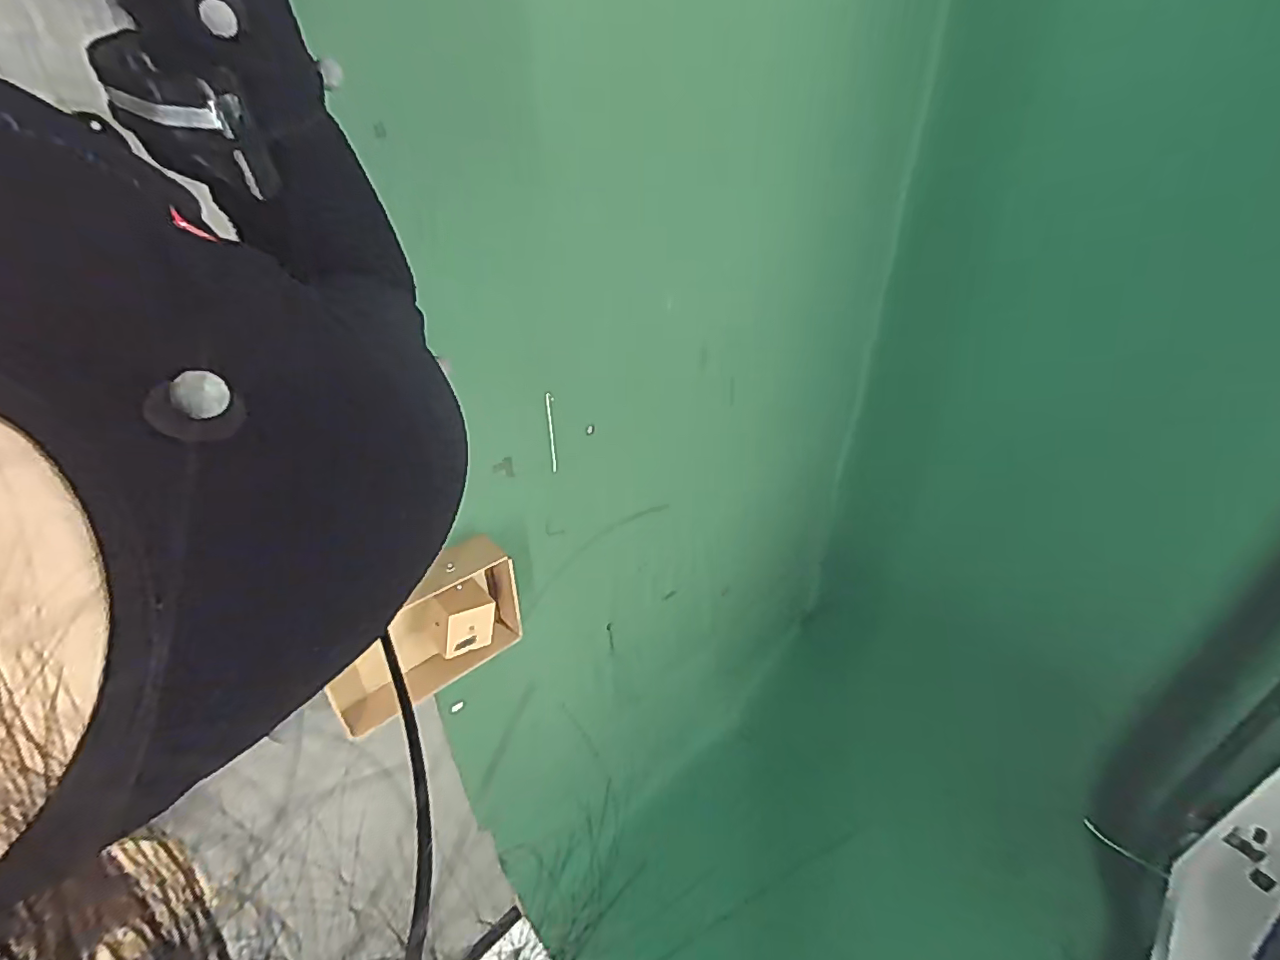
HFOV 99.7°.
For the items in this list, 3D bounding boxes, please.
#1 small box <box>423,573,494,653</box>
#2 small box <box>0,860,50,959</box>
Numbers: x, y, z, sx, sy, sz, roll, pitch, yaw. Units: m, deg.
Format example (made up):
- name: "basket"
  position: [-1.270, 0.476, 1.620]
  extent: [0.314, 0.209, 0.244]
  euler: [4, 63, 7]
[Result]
- name: "small box"
  position: [-0.614, 0.440, 1.816]
  extent: [0.168, 0.176, 0.179]
  euler: [-10, 121, -44]
- name: "small box"
  position: [-1.340, 0.920, 1.092]
  extent: [0.168, 0.176, 0.179]
  euler: [-15, 123, -38]
